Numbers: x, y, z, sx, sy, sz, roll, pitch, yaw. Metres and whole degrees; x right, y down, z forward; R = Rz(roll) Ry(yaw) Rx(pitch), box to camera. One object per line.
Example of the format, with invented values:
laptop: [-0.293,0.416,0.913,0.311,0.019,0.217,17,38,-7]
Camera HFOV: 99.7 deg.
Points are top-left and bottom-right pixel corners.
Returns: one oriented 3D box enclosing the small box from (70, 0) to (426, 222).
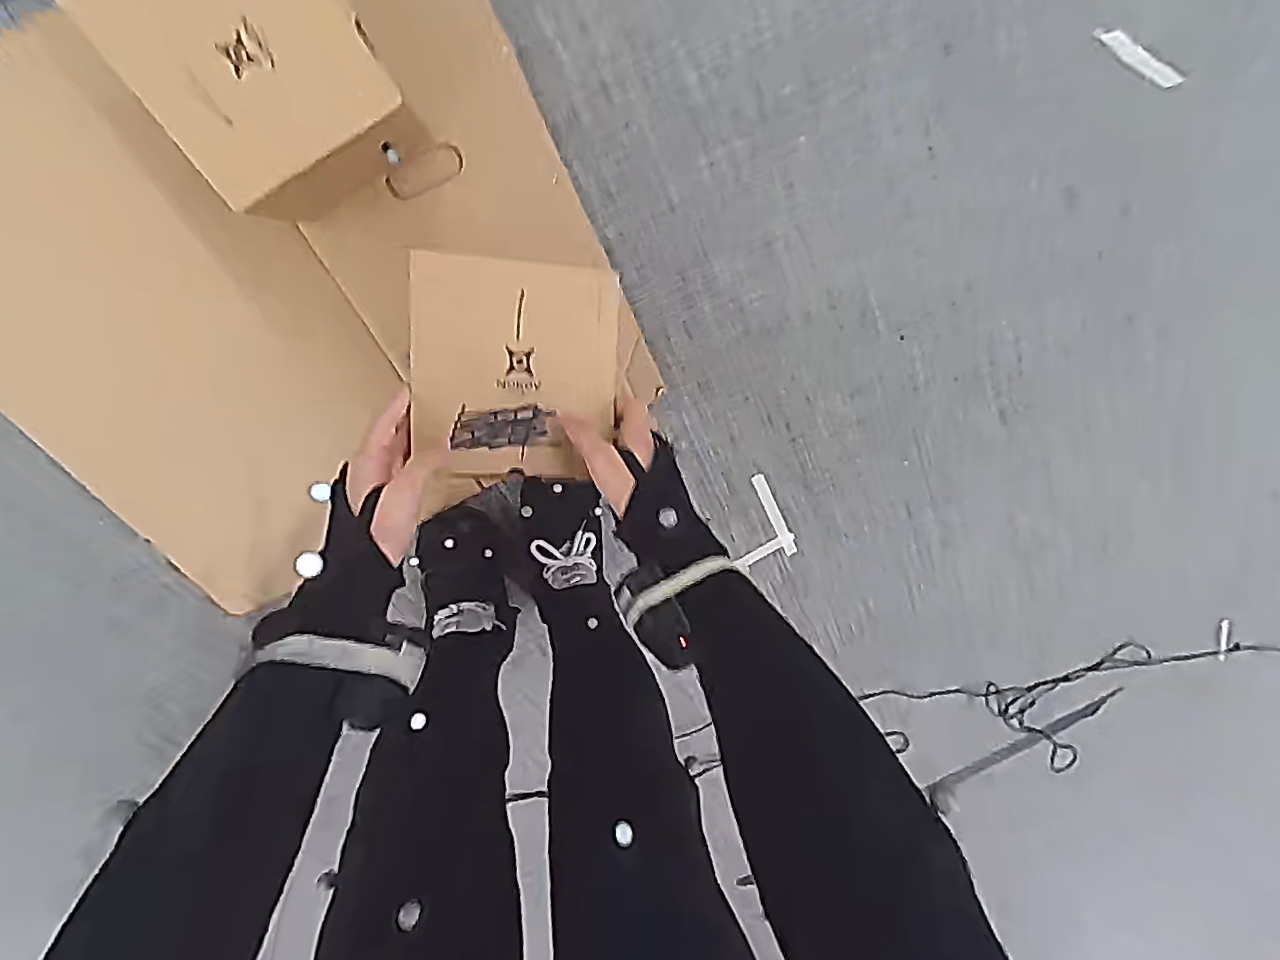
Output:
small box: [-0.319,-0.361,0.493,0.179,0.176,0.168,-33,115,4]
